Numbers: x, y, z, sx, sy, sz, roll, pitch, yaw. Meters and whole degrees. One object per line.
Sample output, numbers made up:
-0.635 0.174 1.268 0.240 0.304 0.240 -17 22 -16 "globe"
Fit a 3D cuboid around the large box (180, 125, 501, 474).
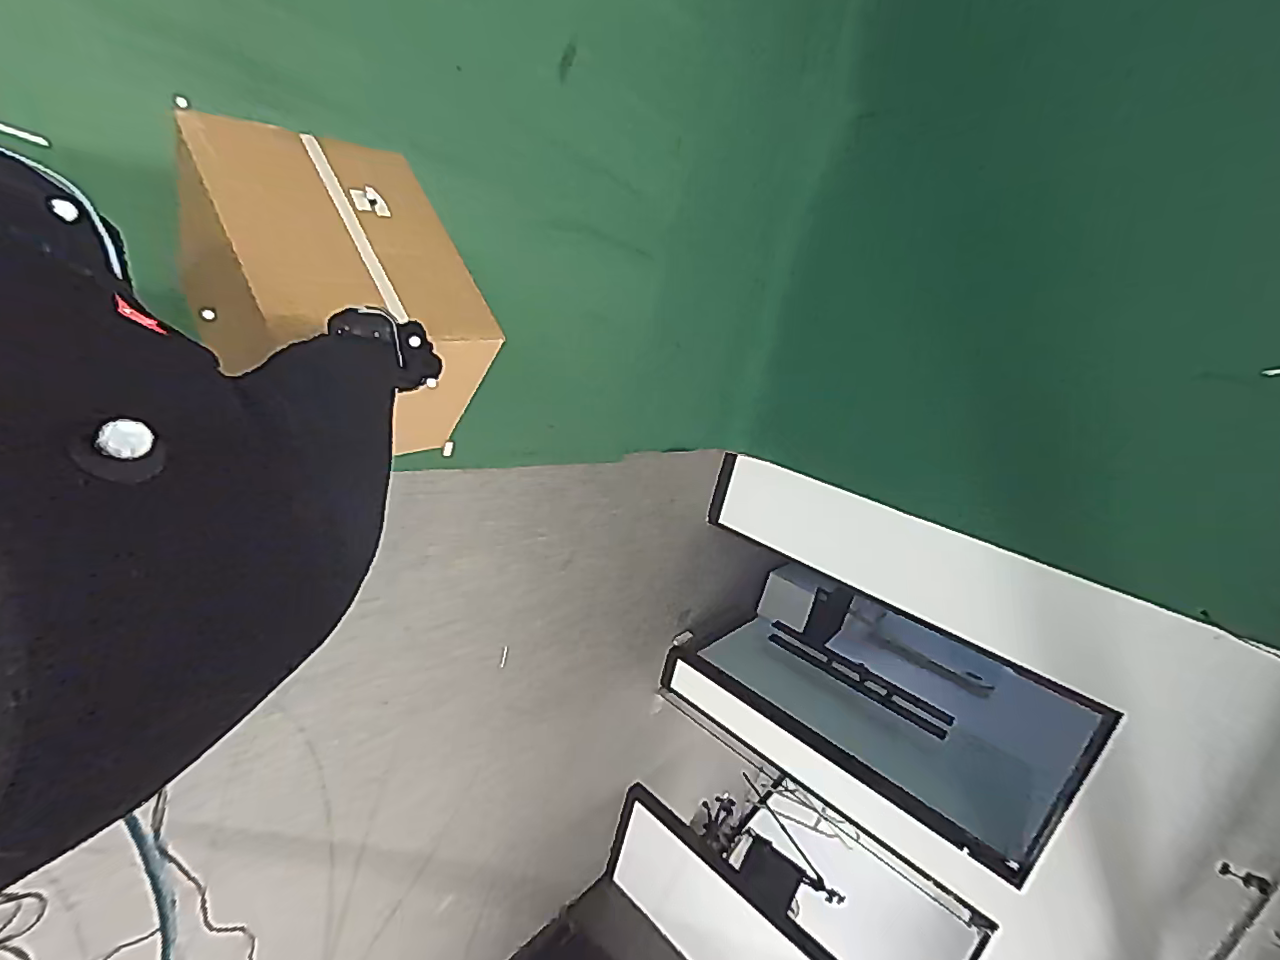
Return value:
-0.499 -0.277 0.896 0.320 0.408 0.320 -17 161 -45 "large box"
